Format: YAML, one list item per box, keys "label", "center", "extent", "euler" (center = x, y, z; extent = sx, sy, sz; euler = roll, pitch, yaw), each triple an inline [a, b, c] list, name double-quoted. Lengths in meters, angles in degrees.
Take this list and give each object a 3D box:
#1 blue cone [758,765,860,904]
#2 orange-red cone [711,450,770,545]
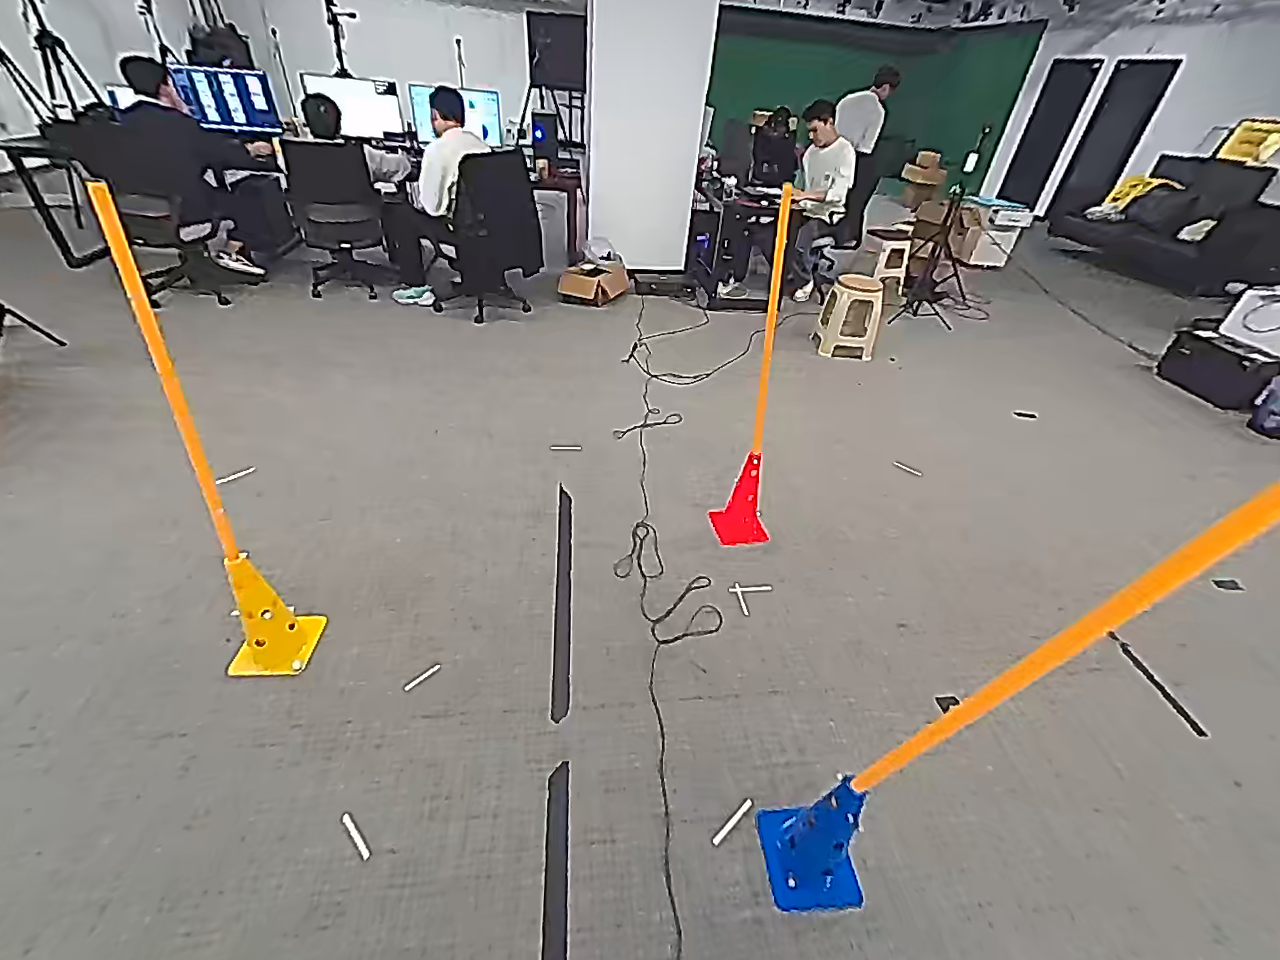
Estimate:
- label: "blue cone"
  center: [0.392, 0.721, 1.139]
  extent: [0.193, 0.380, 0.192]
  euler: [2, 36, -5]
- label: "orange-red cone"
  center: [0.402, 0.047, 2.022]
  extent: [0.199, 0.360, 0.198]
  euler: [-4, 37, -10]
